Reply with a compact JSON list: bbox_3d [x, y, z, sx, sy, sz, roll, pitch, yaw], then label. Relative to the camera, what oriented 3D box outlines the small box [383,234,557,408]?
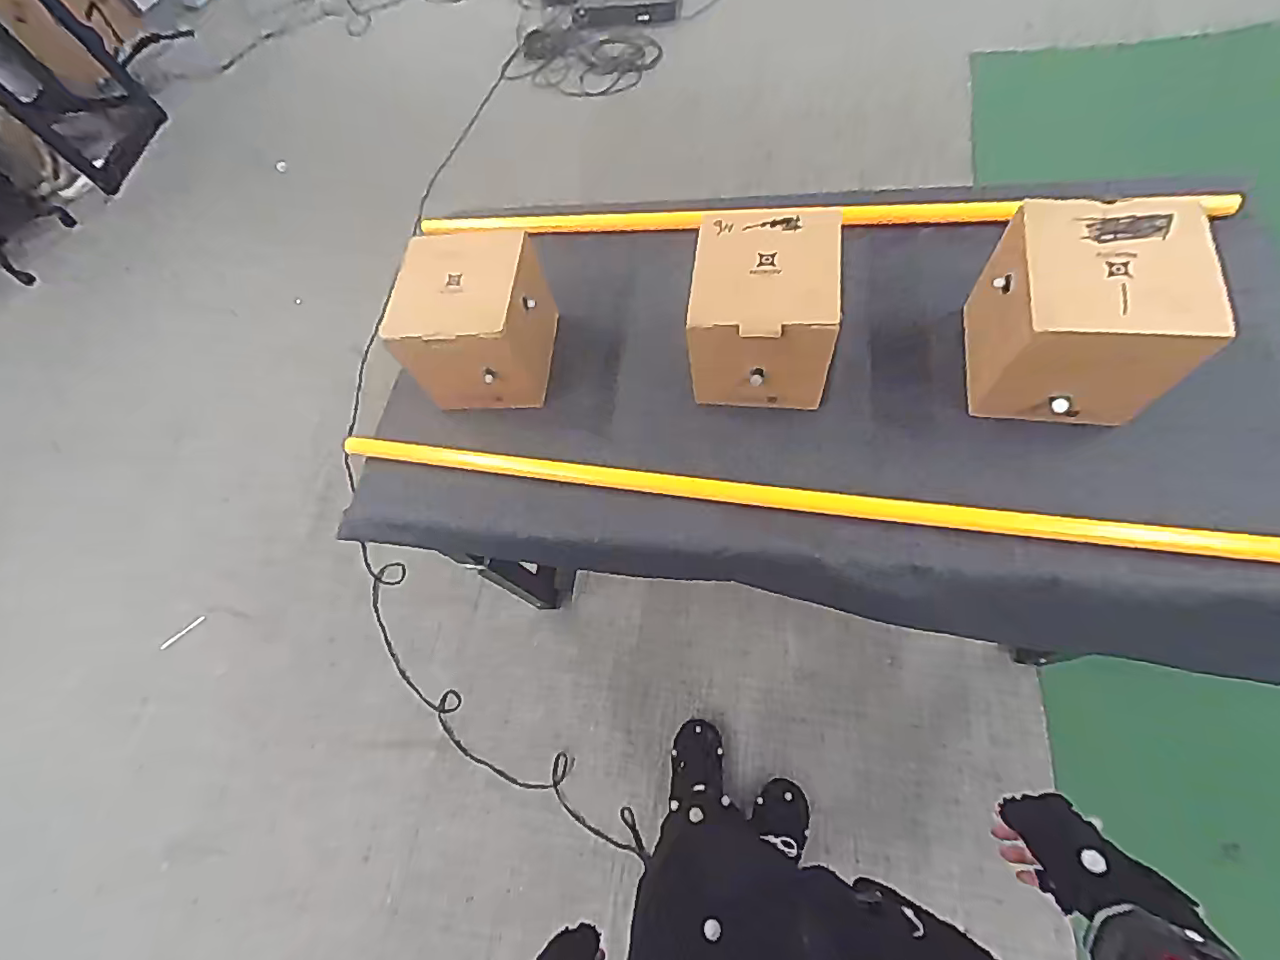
[{"bbox_3d":[-0.225,-0.215,0.767,0.168,0.176,0.179,0,64,9],"label":"small box"}]

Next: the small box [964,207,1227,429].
[{"bbox_3d":[0.490,-0.180,0.618,0.168,0.176,0.179,6,68,13],"label":"small box"}]

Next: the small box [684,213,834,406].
[{"bbox_3d":[0.154,-0.207,0.696,0.168,0.176,0.179,1,65,12],"label":"small box"}]
